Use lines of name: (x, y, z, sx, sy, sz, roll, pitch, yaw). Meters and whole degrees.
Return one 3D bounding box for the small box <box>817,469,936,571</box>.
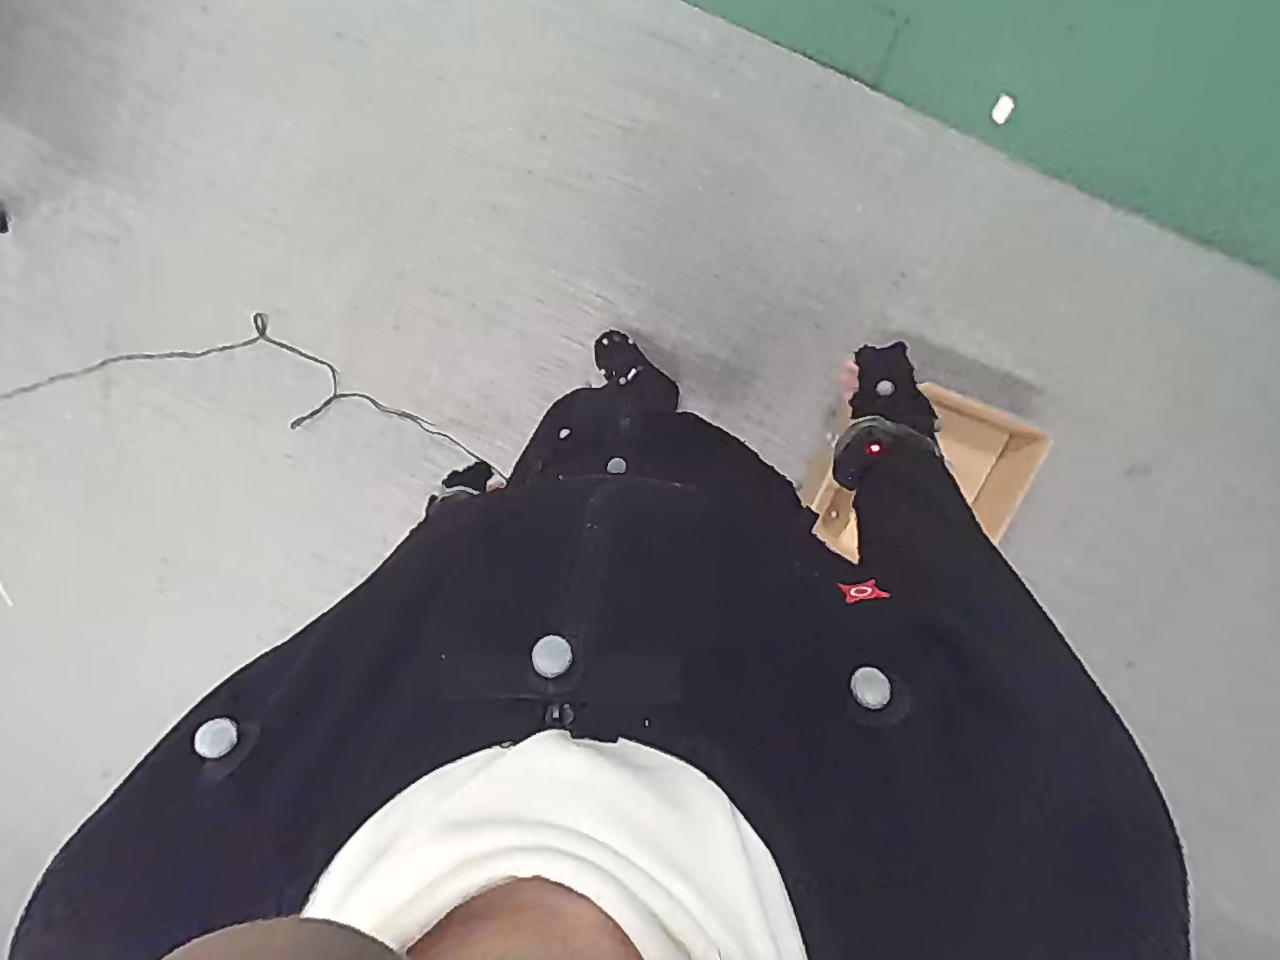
small box: (0.539, 0.083, 1.265, 0.179, 0.176, 0.168, 23, 103, -1)
